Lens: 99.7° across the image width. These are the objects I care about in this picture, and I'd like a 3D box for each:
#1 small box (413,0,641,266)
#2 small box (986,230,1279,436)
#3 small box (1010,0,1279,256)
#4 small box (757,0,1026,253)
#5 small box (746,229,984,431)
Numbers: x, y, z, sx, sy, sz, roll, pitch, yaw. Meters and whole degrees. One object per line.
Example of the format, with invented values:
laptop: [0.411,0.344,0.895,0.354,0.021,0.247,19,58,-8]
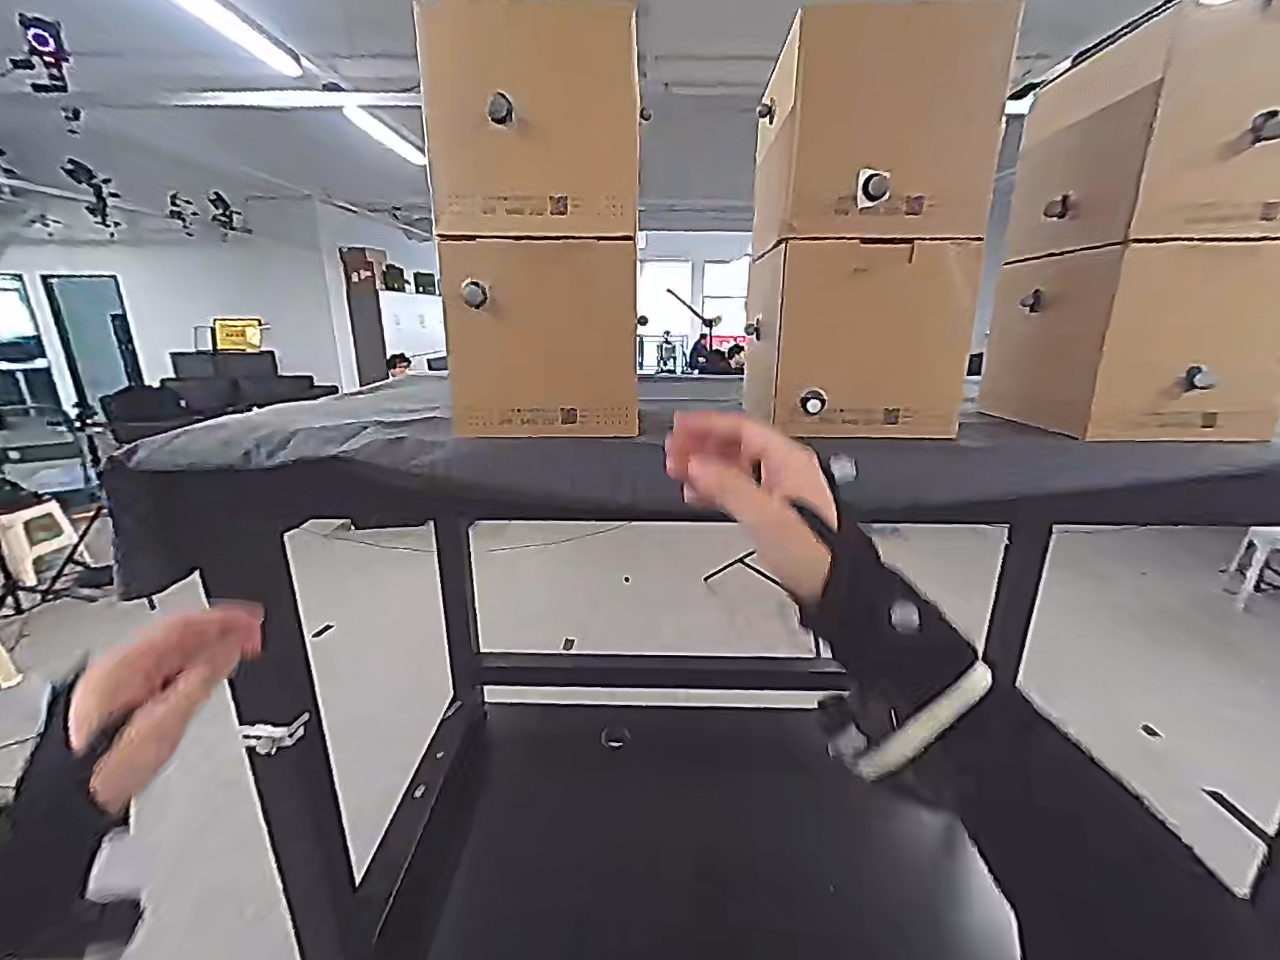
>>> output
small box: [-0.084,-0.298,0.496,0.168,0.176,0.179,0,15,1]
small box: [0.478,-0.142,0.535,0.168,0.176,0.179,-1,16,3]
small box: [0.479,-0.300,0.491,0.168,0.176,0.179,1,17,3]
small box: [0.205,-0.300,0.499,0.168,0.176,0.179,0,16,2]
small box: [0.203,-0.143,0.540,0.168,0.176,0.179,0,14,1]
